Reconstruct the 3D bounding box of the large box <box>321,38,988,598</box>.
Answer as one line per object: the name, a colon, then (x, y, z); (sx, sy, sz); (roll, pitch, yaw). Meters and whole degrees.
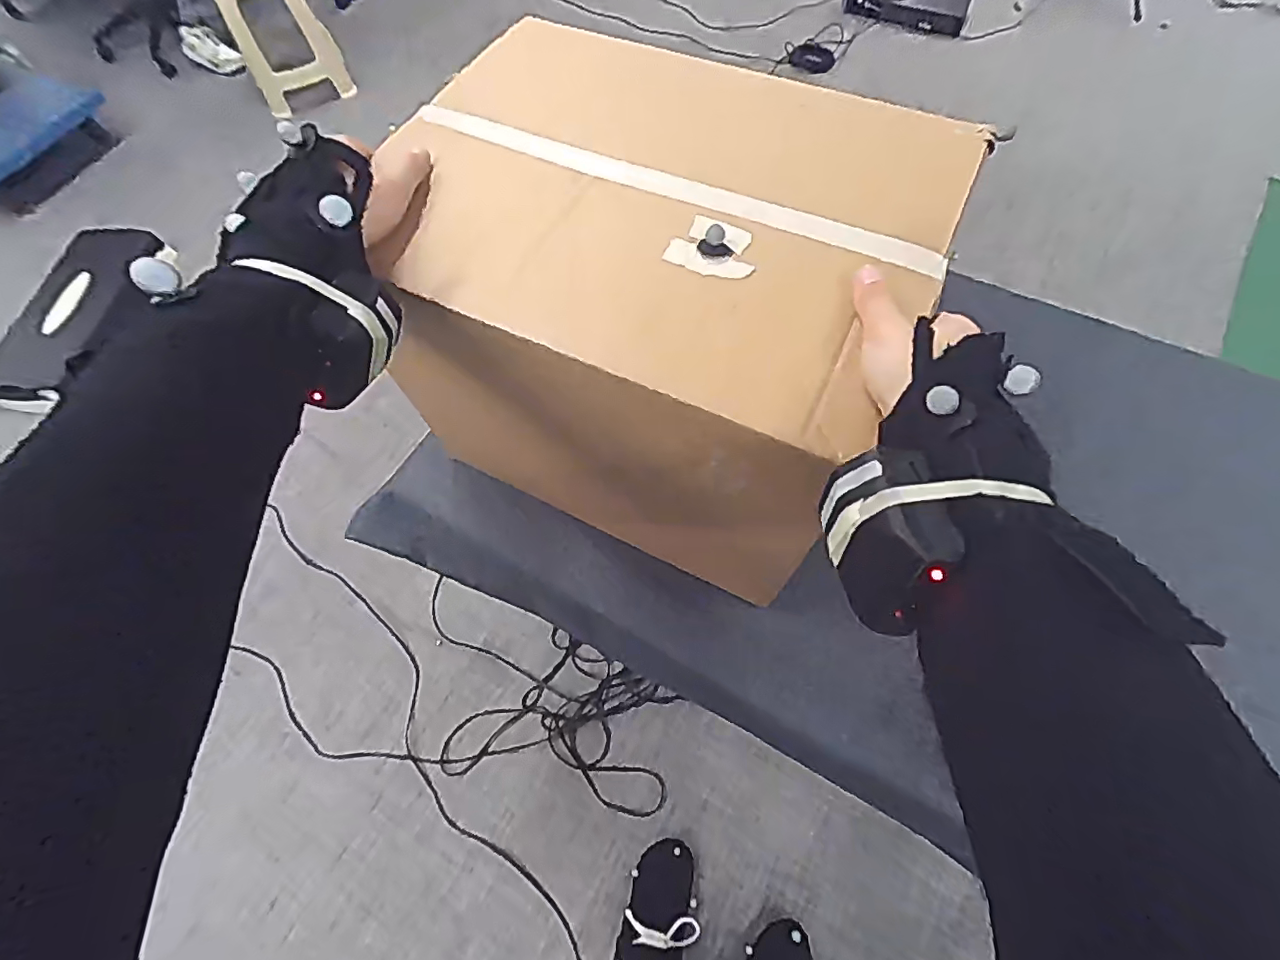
large box: (0.022, -0.137, 0.524); (0.408, 0.320, 0.320); (24, 68, 12)
